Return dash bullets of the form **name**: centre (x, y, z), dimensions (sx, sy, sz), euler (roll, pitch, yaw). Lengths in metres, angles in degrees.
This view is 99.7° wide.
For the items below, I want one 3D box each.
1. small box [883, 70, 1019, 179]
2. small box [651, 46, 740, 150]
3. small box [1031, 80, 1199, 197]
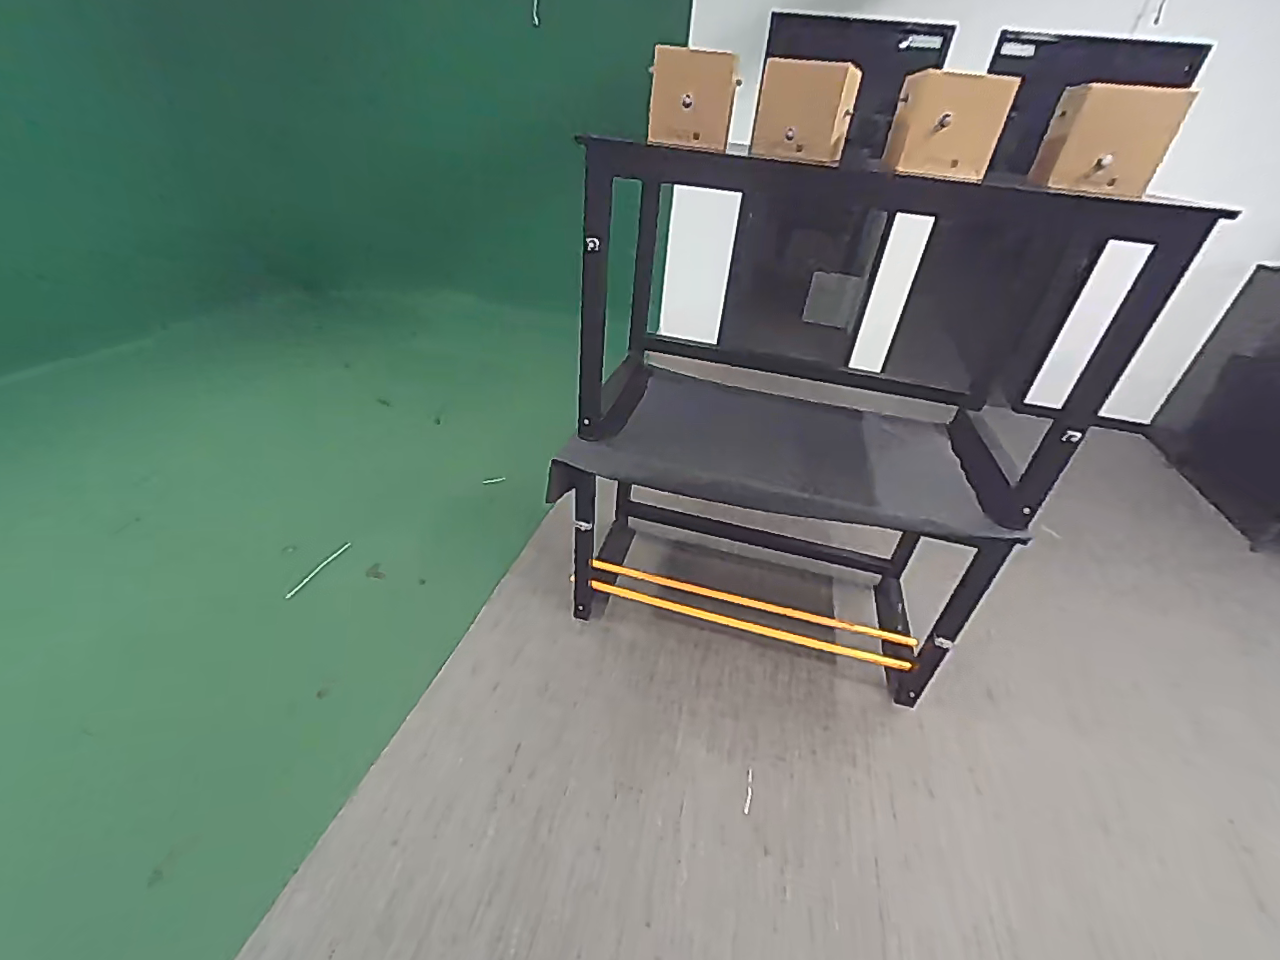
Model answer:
- **small box**: centre (0.614, -0.715, 1.095), dimensions (0.168, 0.176, 0.179), euler (9, 33, 5)
- **small box**: centre (0.121, -0.829, 1.185), dimensions (0.168, 0.176, 0.179), euler (11, 34, 6)
- **small box**: centre (0.899, -0.660, 1.050), dimensions (0.168, 0.176, 0.179), euler (15, 36, 14)
